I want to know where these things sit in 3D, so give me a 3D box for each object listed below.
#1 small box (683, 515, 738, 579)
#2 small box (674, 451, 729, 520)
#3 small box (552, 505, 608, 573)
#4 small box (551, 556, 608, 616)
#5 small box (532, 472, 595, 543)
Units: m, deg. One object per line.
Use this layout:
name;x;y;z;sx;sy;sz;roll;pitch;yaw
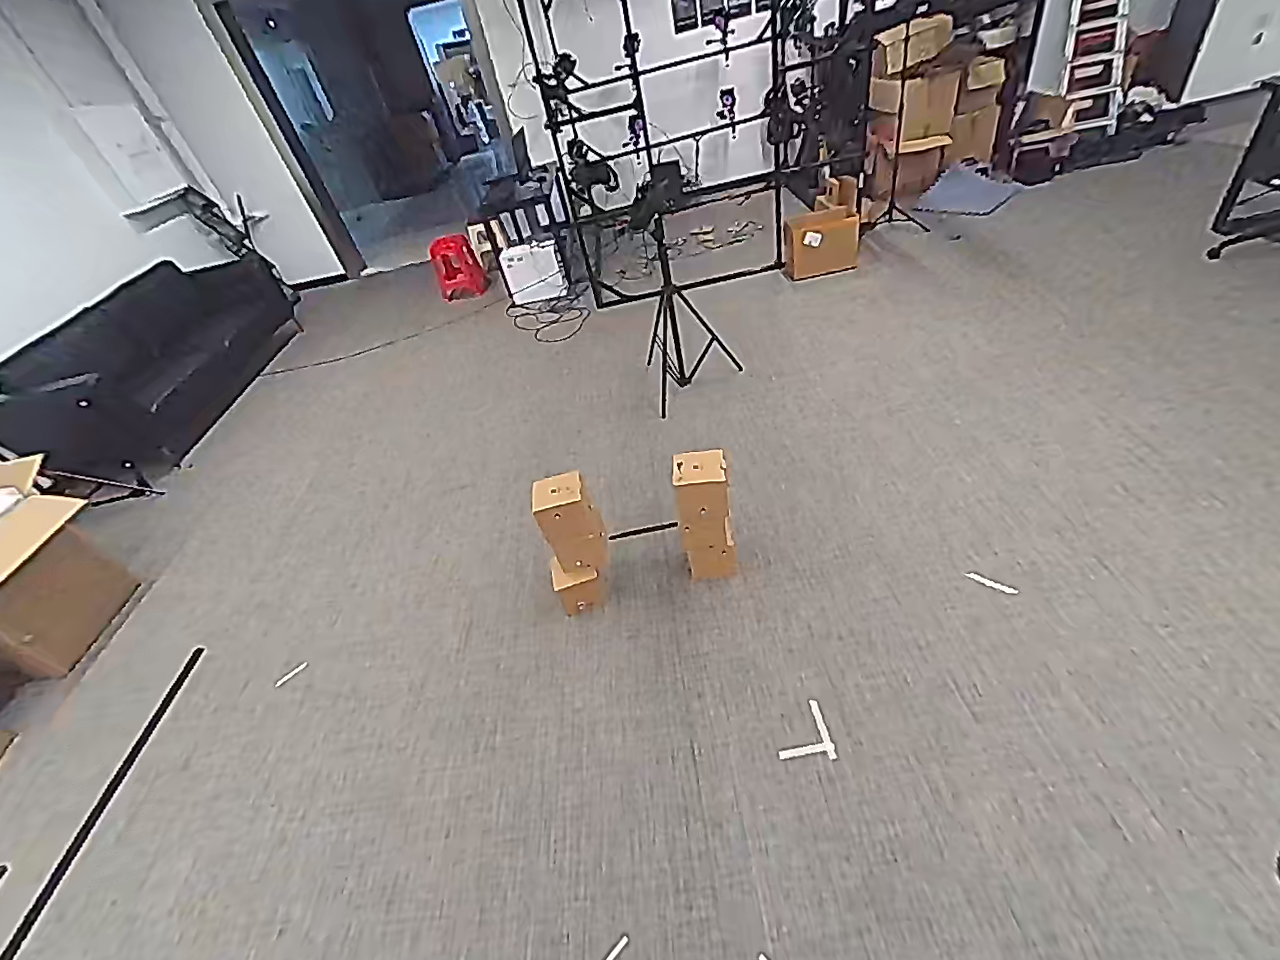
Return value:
small box;0.272;0.261;2.074;0.179;0.176;0.168;-10;40;4
small box;0.215;0.020;1.859;0.179;0.176;0.168;-5;40;9
small box;-0.218;0.221;2.020;0.168;0.176;0.179;-10;40;8
small box;-0.233;0.390;2.084;0.168;0.176;0.179;-19;40;-3
small box;-0.268;0.102;1.917;0.179;0.176;0.168;-14;39;3
